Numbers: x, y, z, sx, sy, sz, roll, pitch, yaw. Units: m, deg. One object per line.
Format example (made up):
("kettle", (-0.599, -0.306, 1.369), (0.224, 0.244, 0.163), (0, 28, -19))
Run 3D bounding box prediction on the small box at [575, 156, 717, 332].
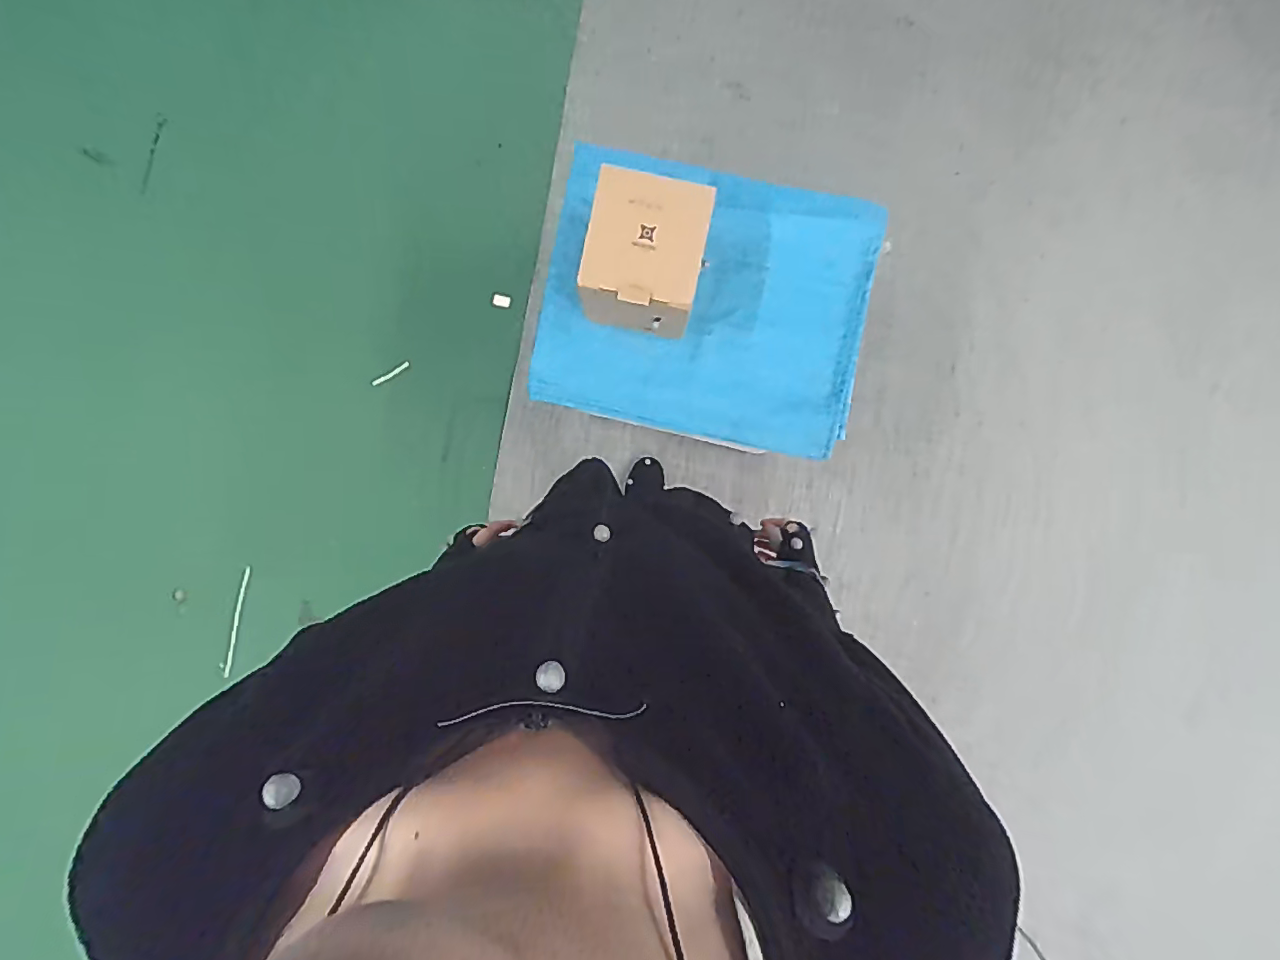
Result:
("small box", (0.008, -0.341, 0.818), (0.168, 0.176, 0.179), (13, 89, -1))
